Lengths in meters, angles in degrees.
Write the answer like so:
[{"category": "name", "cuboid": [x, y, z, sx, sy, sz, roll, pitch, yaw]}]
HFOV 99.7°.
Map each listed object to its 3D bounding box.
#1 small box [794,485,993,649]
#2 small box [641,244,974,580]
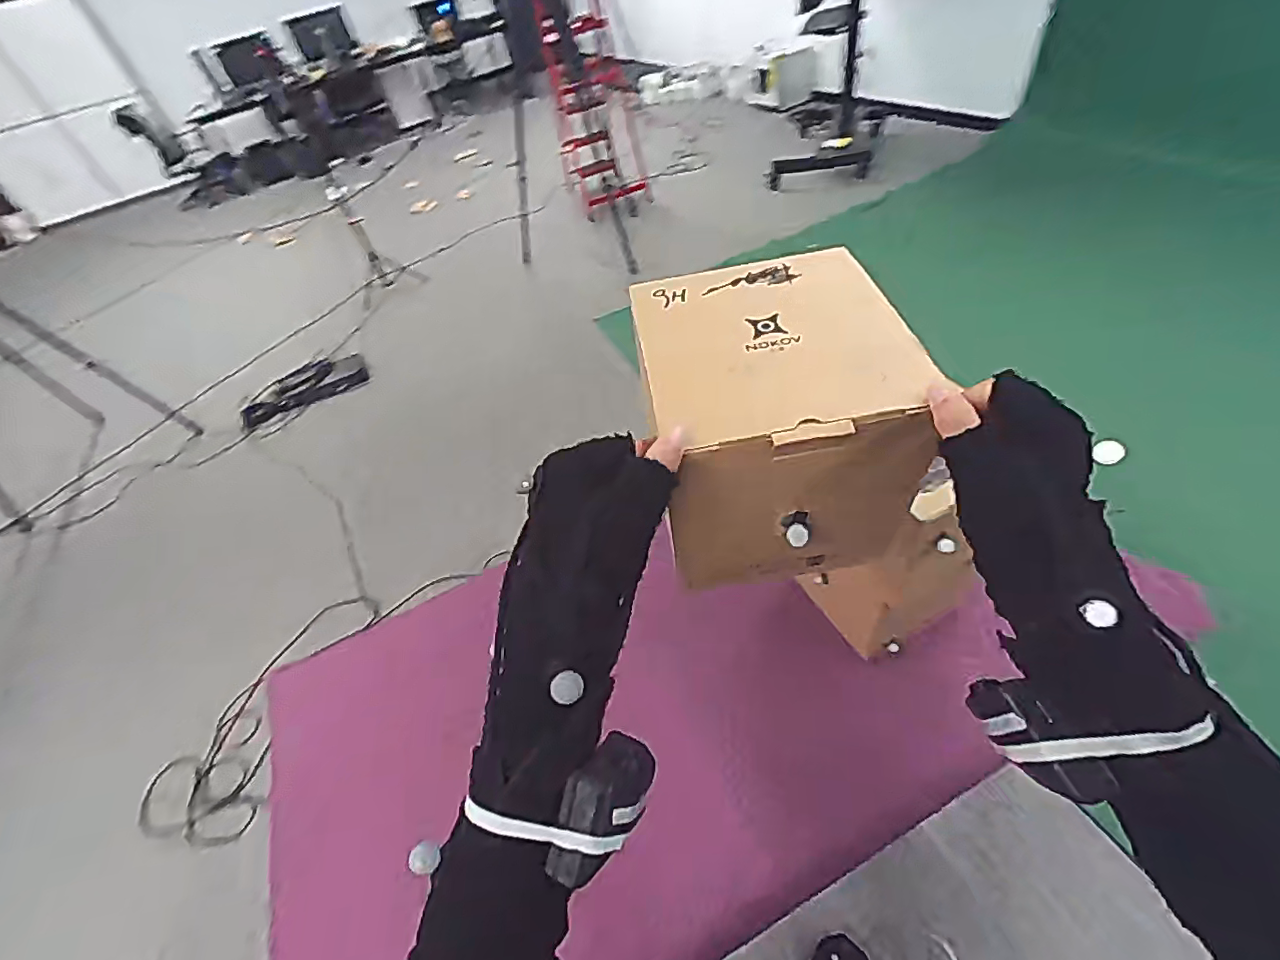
[{"category": "small box", "cuboid": [0.330, 0.109, 0.745, 0.168, 0.176, 0.179, -23, 47, -10]}, {"category": "small box", "cuboid": [0.100, -0.040, 0.400, 0.168, 0.176, 0.179, -9, 52, 2]}]
